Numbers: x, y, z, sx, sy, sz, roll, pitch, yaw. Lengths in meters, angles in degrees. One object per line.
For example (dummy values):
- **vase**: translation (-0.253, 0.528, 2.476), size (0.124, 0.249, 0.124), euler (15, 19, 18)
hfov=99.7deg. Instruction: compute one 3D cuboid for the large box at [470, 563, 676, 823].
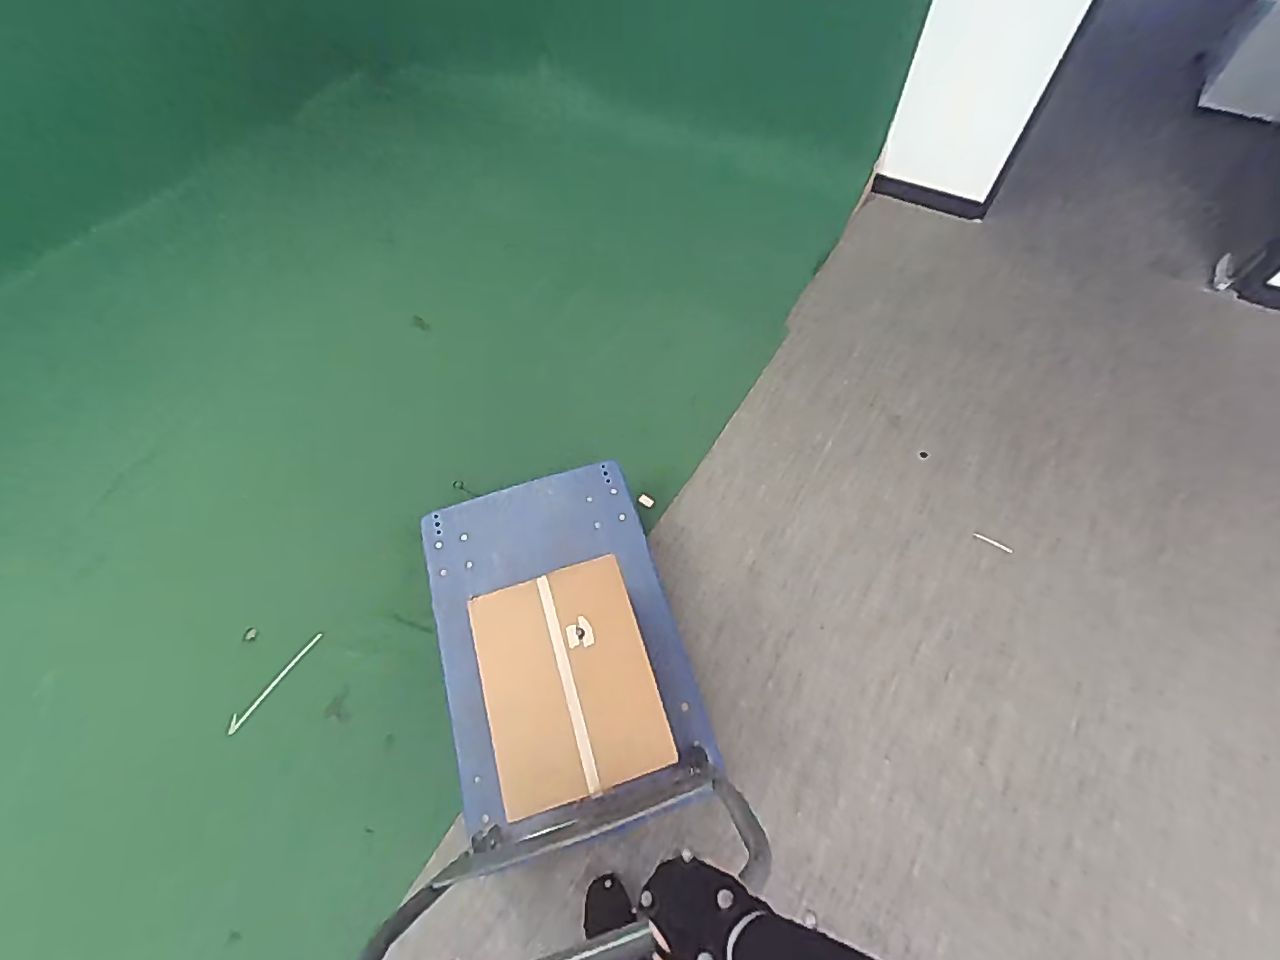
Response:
- **large box**: translation (-0.133, 0.449, 1.166), size (0.320, 0.320, 0.408), euler (-17, 65, -6)
